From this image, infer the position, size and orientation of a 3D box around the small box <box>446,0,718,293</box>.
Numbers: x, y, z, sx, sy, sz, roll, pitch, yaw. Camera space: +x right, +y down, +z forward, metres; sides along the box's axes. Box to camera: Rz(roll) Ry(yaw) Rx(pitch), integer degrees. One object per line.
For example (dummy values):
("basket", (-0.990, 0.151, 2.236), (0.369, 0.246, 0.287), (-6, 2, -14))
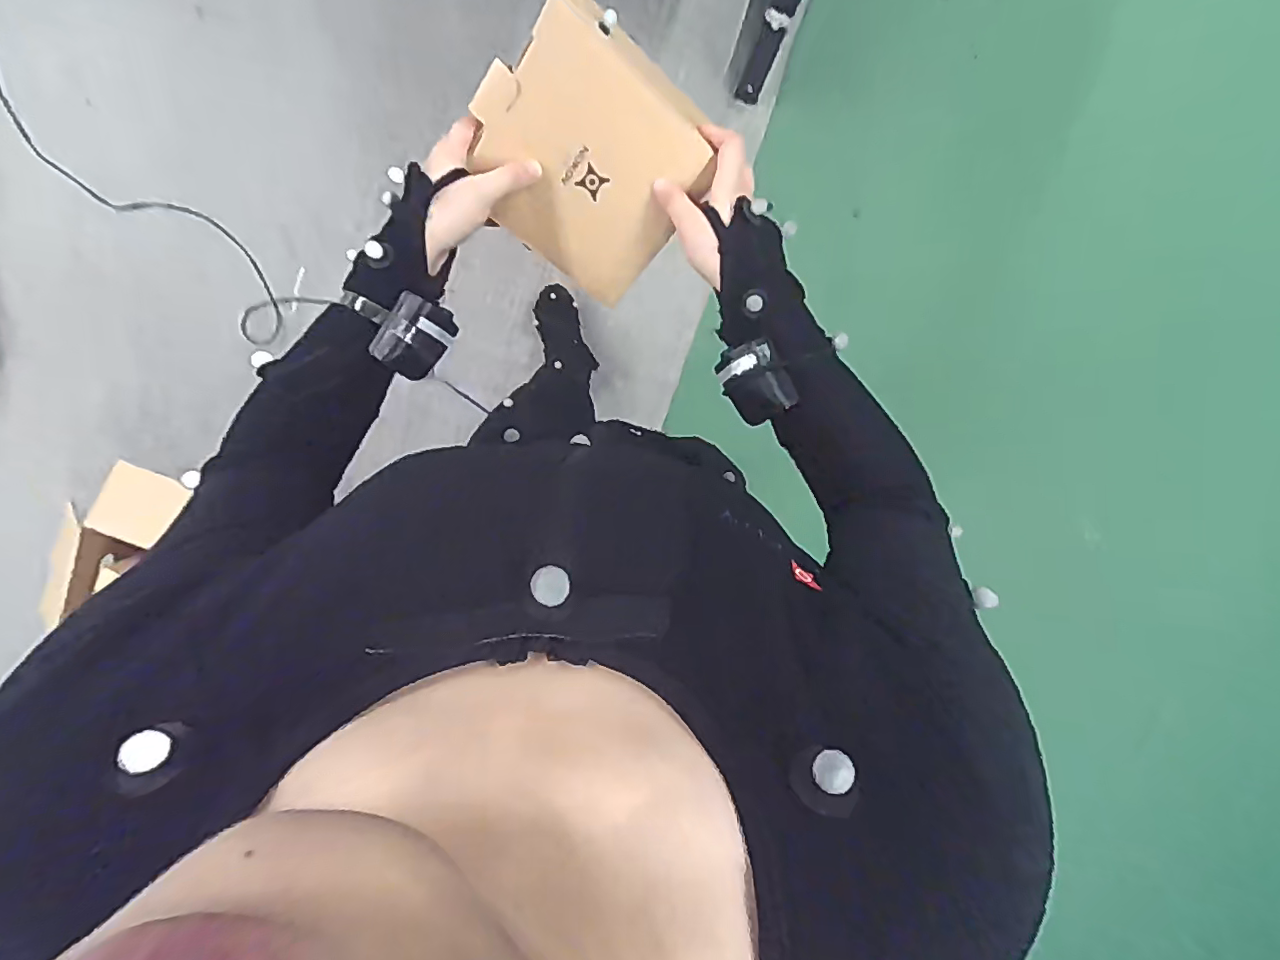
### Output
("small box", (-0.047, -0.322, 0.511), (0.179, 0.176, 0.168), (31, 127, -24))

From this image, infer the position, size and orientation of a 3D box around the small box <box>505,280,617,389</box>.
("small box", (-0.179, -0.346, 1.285), (0.176, 0.168, 0.179), (38, 83, -44))
